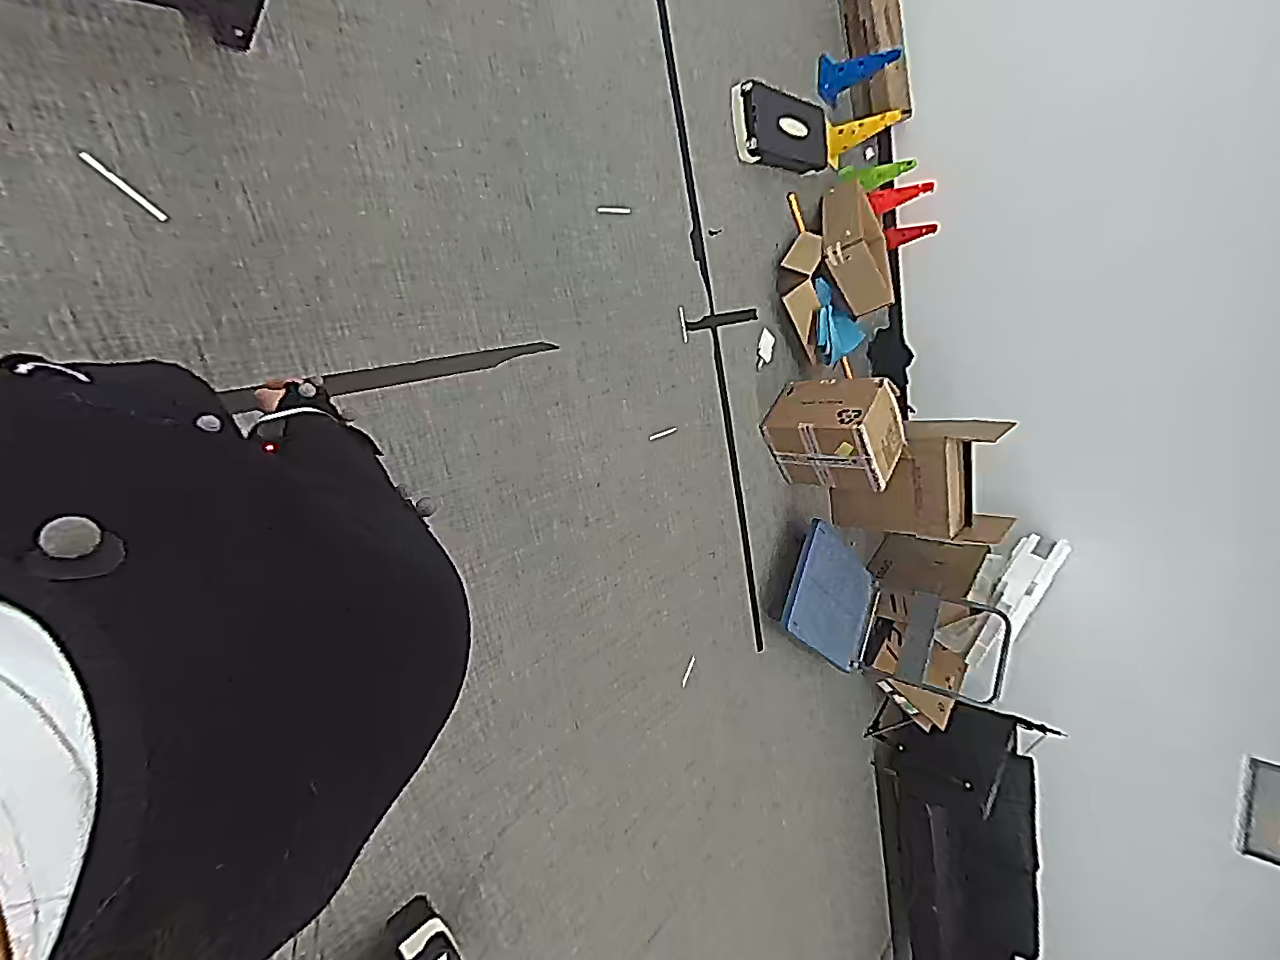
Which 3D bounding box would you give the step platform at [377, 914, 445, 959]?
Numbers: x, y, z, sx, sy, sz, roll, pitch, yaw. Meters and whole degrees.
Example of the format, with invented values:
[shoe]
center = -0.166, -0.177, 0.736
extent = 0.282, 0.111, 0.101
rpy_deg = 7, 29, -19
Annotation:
[step platform]
center = -0.758, 1.407, 1.232
extent = 0.684, 0.204, 0.286
rpy_deg = -25, 111, -43
